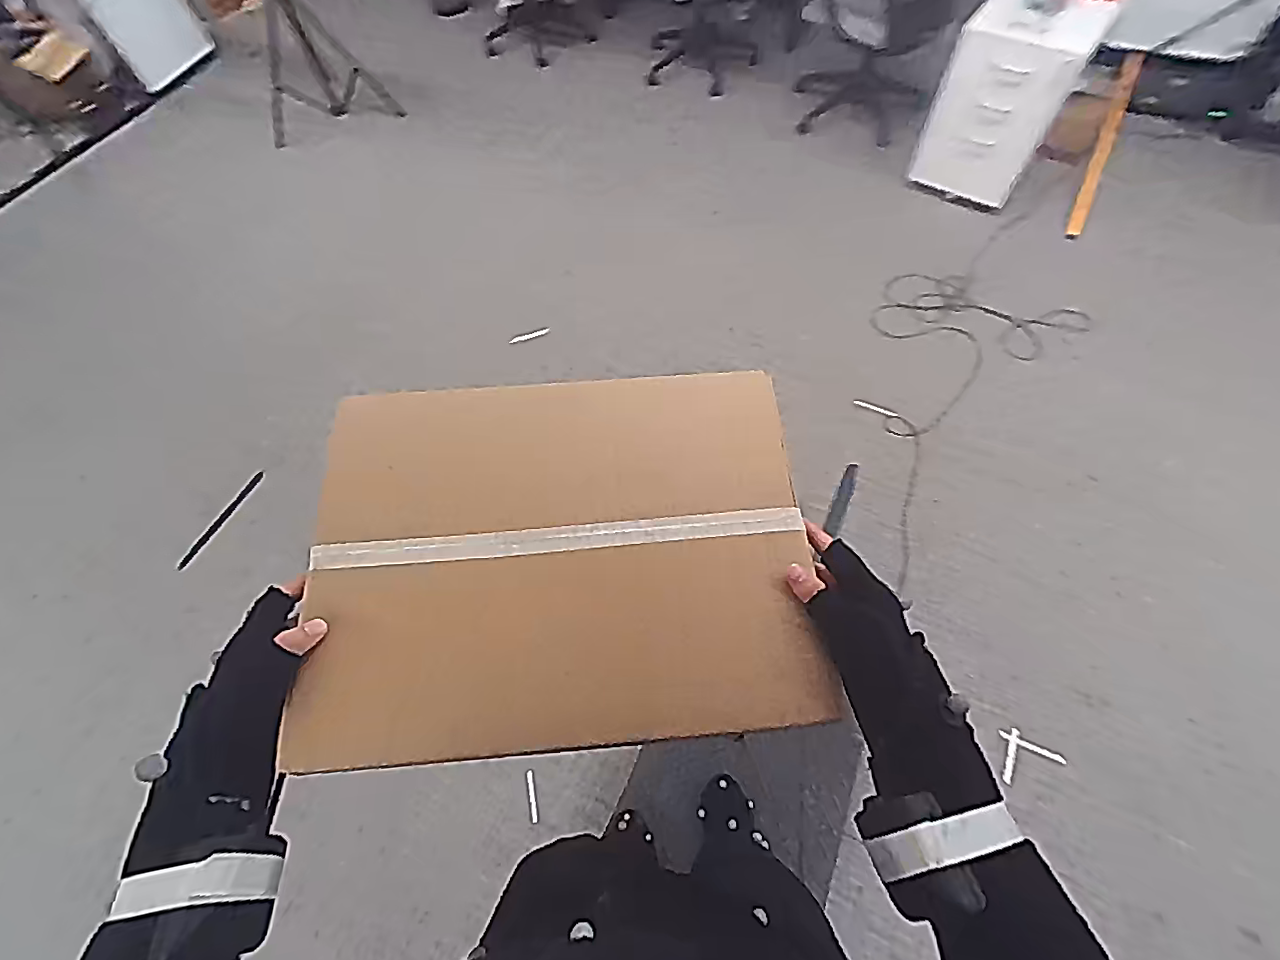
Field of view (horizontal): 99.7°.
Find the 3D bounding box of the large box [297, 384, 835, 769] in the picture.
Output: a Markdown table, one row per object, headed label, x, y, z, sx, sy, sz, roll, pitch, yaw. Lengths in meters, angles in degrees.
| label | x | y | z | sx | sy | sz | roll | pitch | yaw |
| --- | --- | --- | --- | --- | --- | --- | --- | --- | --- |
| large box | -0.062 | 0.117 | 0.592 | 0.408 | 0.320 | 0.320 | -3 | 65 | -3 |
